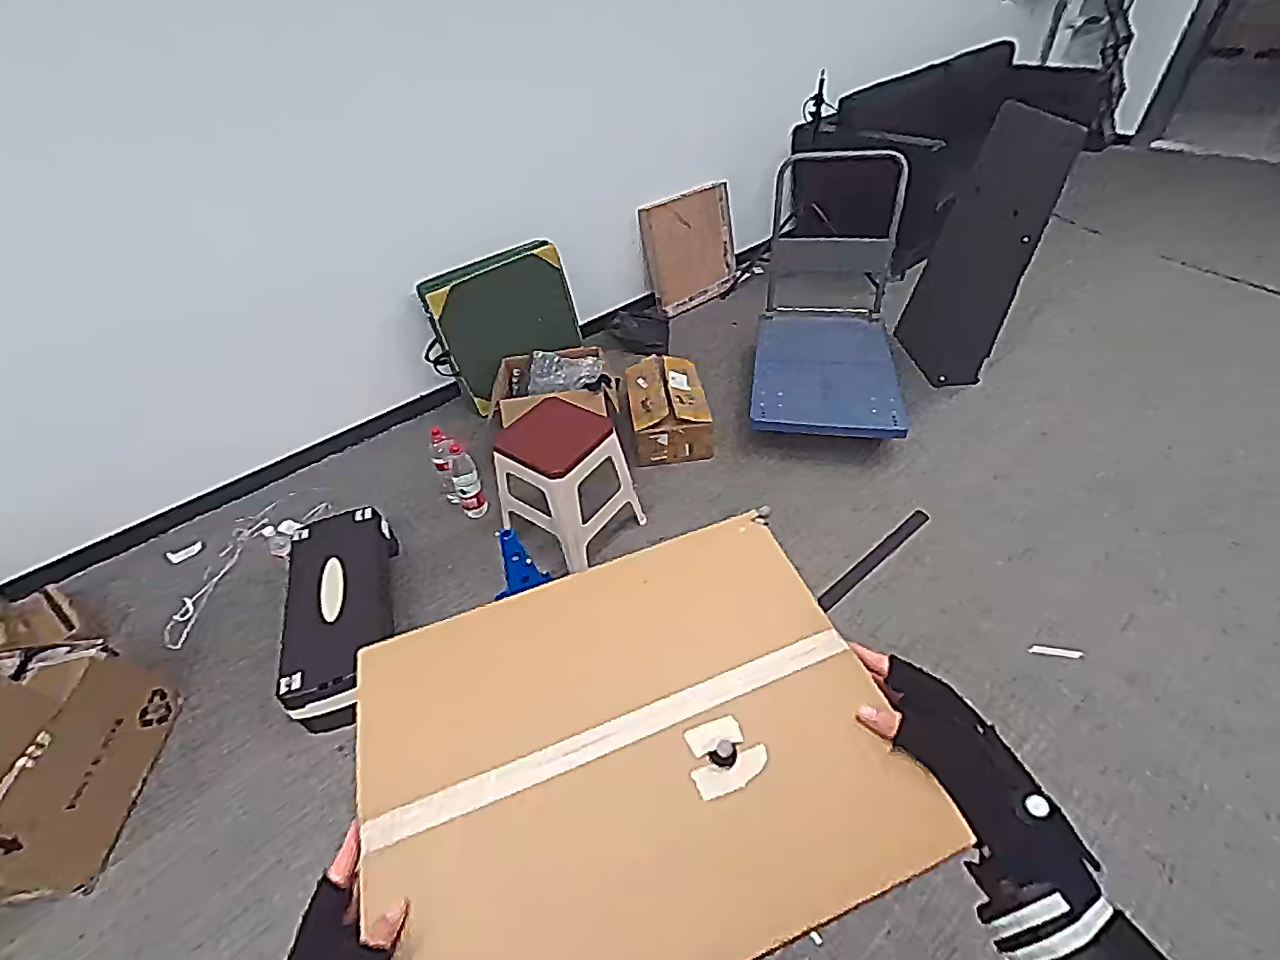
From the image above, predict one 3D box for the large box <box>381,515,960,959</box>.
[{"bbox_3d":[0.004,0.299,0.554,0.408,0.320,0.320,-17,50,-10],"label":"large box"}]
